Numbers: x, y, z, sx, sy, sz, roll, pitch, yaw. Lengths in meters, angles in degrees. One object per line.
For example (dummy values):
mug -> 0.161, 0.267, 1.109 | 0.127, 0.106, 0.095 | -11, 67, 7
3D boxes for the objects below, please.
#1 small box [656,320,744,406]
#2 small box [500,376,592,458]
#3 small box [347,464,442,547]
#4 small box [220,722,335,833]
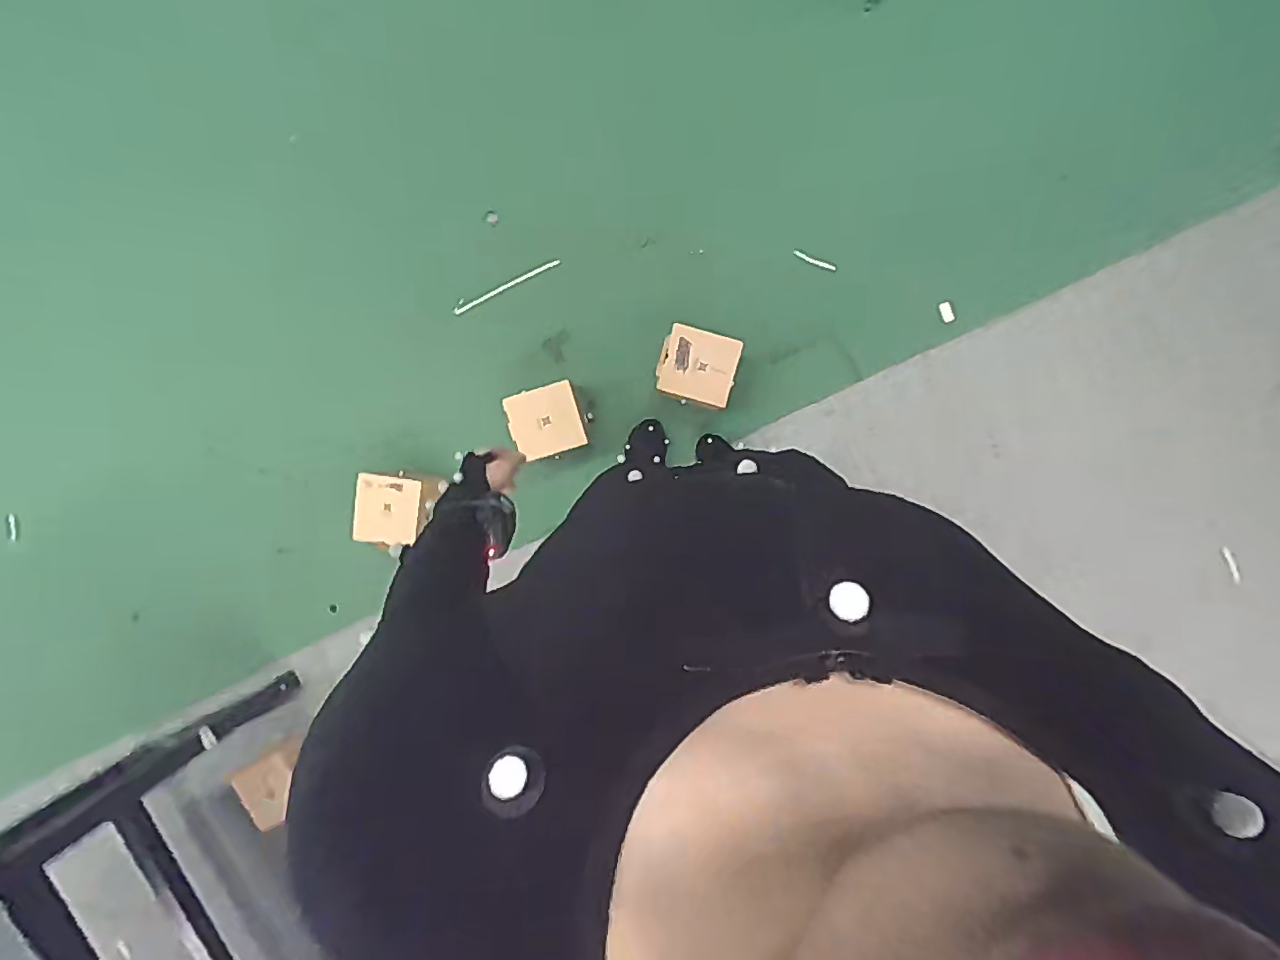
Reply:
small box -> 0.143, -0.287, 1.368 | 0.179, 0.176, 0.168 | 16, 95, -1
small box -> -0.235, -0.159, 1.390 | 0.179, 0.176, 0.168 | -17, 96, 2
small box -> -0.637, 0.062, 1.421 | 0.168, 0.176, 0.179 | 9, 96, 1
small box -> -0.991, 0.816, 1.497 | 0.168, 0.176, 0.179 | -27, 94, 3
